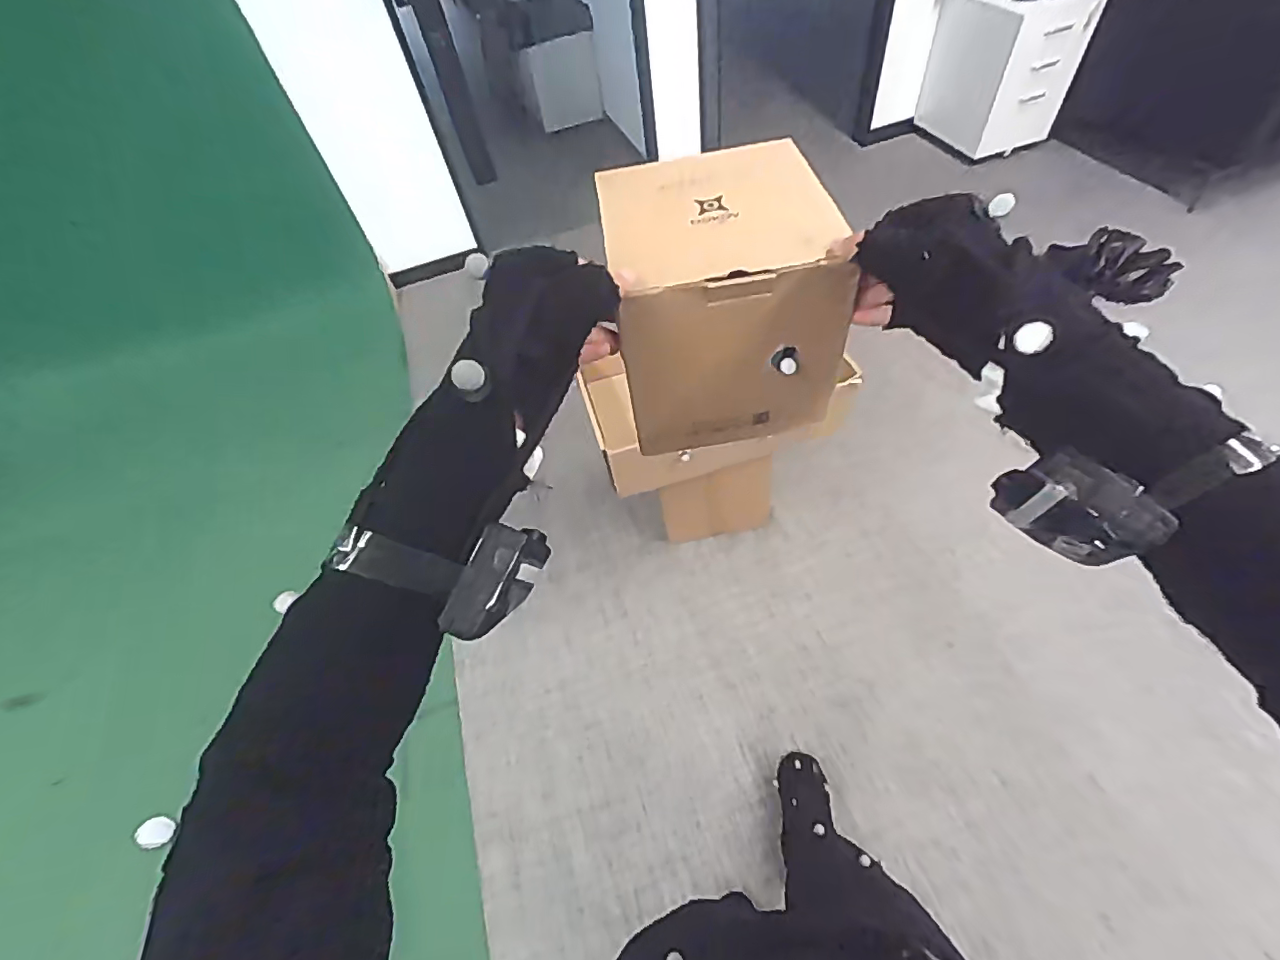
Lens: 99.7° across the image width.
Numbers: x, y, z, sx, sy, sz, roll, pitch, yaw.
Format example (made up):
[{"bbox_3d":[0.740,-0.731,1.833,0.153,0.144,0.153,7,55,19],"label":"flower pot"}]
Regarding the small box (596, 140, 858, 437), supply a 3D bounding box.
[{"bbox_3d":[0.062,-0.152,0.462,0.168,0.176,0.179,-9,52,0],"label":"small box"}]
